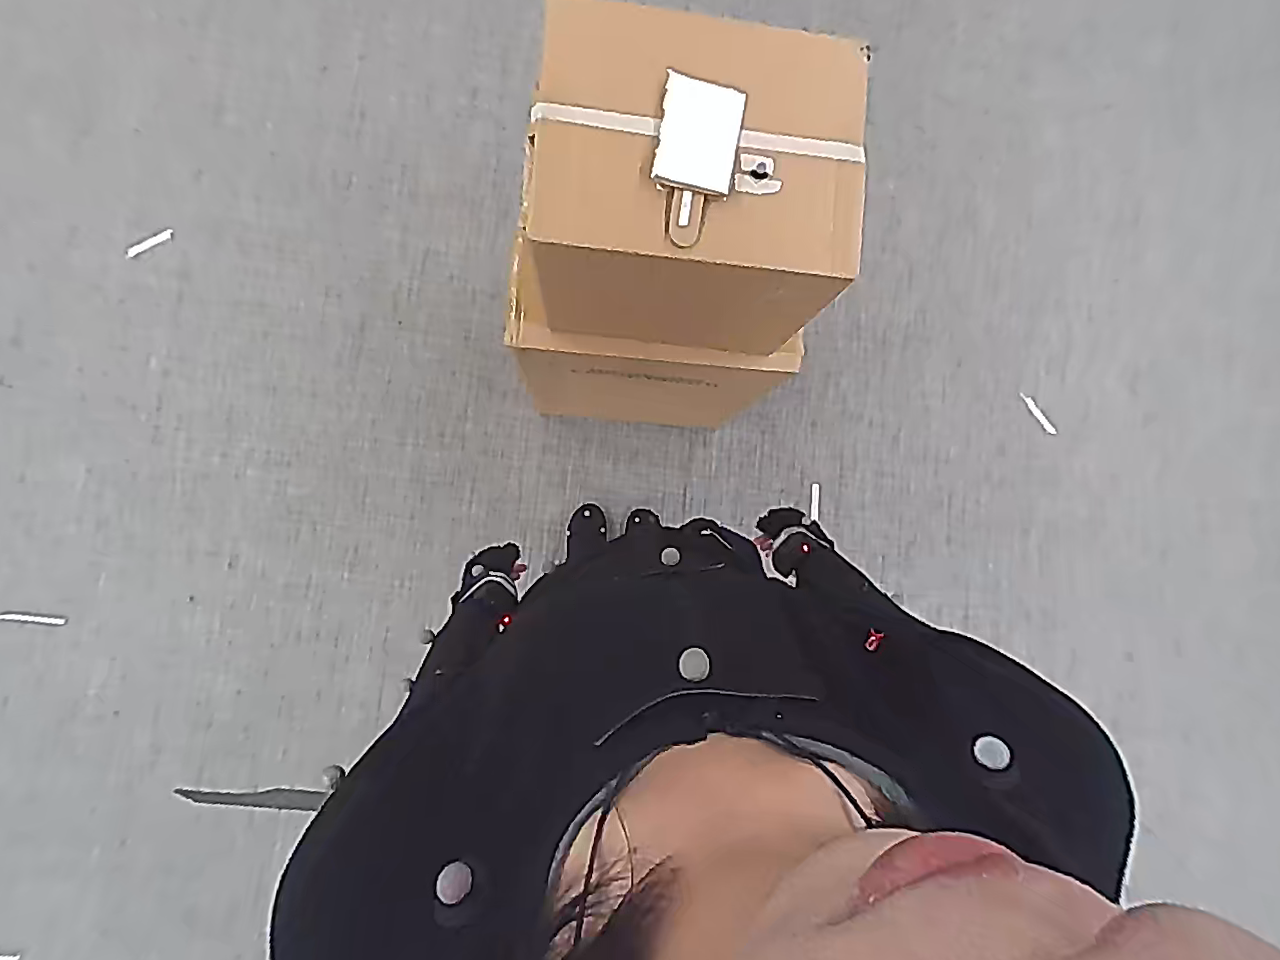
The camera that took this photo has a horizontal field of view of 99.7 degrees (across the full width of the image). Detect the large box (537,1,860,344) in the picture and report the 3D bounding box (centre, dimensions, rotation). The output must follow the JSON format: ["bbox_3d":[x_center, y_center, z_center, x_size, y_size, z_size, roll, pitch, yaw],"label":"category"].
[{"bbox_3d":[0.064,-0.416,0.819,0.408,0.320,0.320,4,86,-6],"label":"large box"}]
